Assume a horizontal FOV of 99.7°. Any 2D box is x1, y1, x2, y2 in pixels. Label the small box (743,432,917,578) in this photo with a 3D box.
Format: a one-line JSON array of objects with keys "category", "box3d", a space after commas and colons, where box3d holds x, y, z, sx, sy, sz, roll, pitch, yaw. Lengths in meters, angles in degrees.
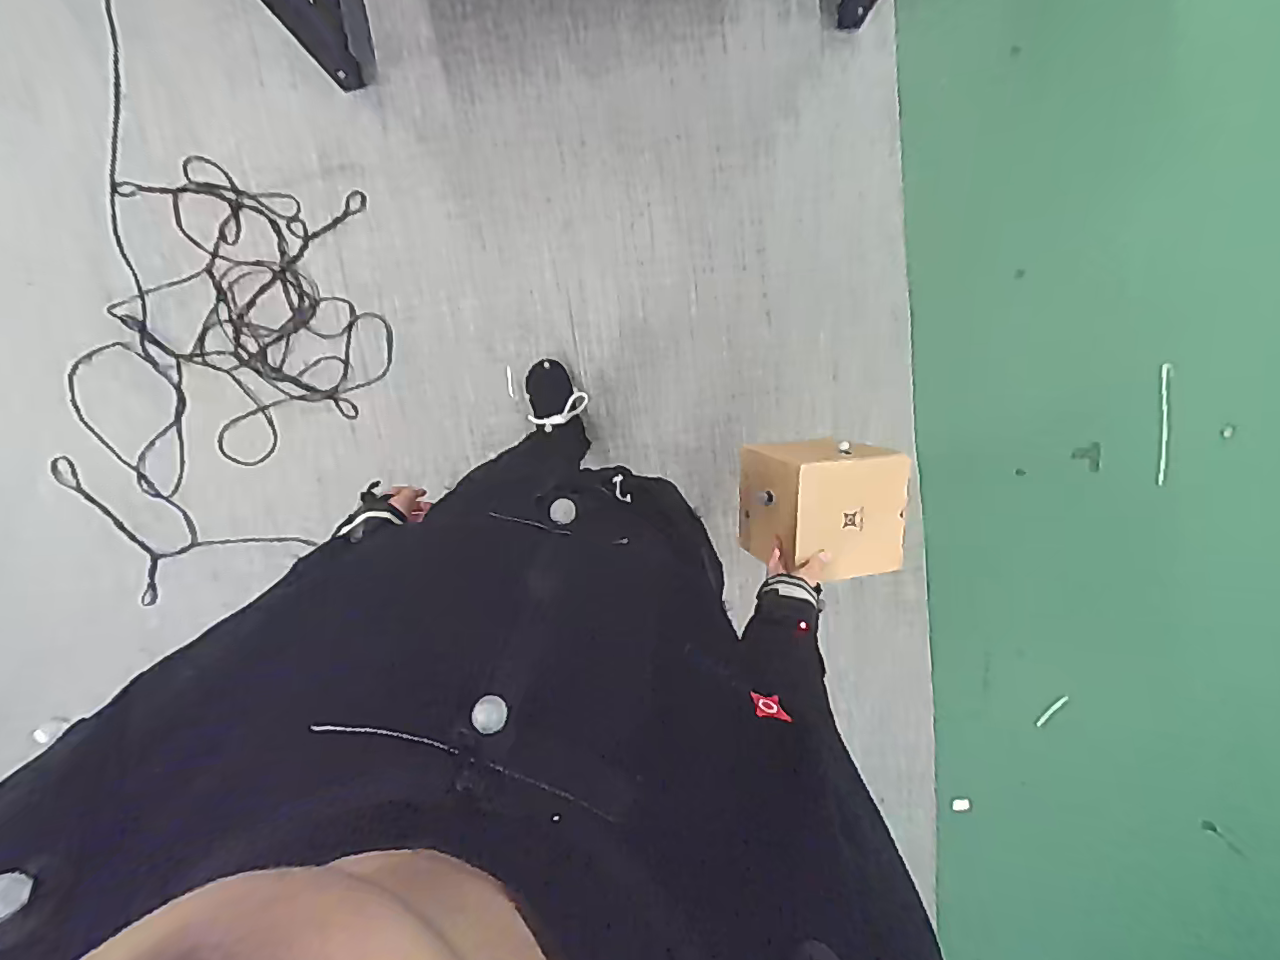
[{"category": "small box", "box3d": [0.259, 0.025, 0.774, 0.179, 0.176, 0.168, -6, 103, -16]}]
